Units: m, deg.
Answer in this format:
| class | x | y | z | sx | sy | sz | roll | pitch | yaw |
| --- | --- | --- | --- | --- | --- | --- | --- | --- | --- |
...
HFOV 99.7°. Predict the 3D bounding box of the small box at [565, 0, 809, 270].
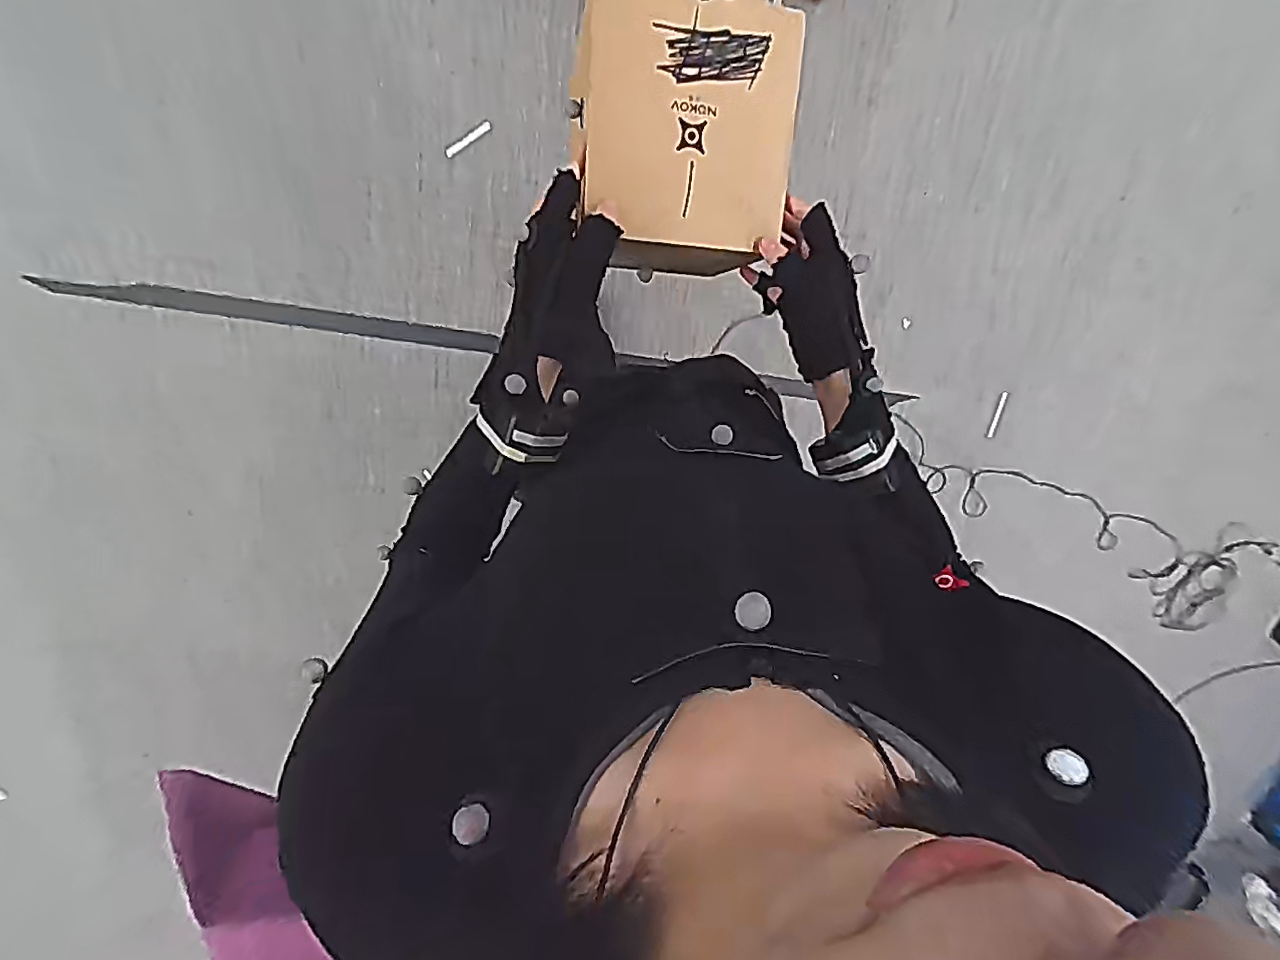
| class | x | y | z | sx | sy | sz | roll | pitch | yaw |
| --- | --- | --- | --- | --- | --- | --- | --- | --- | --- |
| small box | 0.024 | -0.298 | 0.481 | 0.168 | 0.176 | 0.179 | 2 | 103 | -13 |
